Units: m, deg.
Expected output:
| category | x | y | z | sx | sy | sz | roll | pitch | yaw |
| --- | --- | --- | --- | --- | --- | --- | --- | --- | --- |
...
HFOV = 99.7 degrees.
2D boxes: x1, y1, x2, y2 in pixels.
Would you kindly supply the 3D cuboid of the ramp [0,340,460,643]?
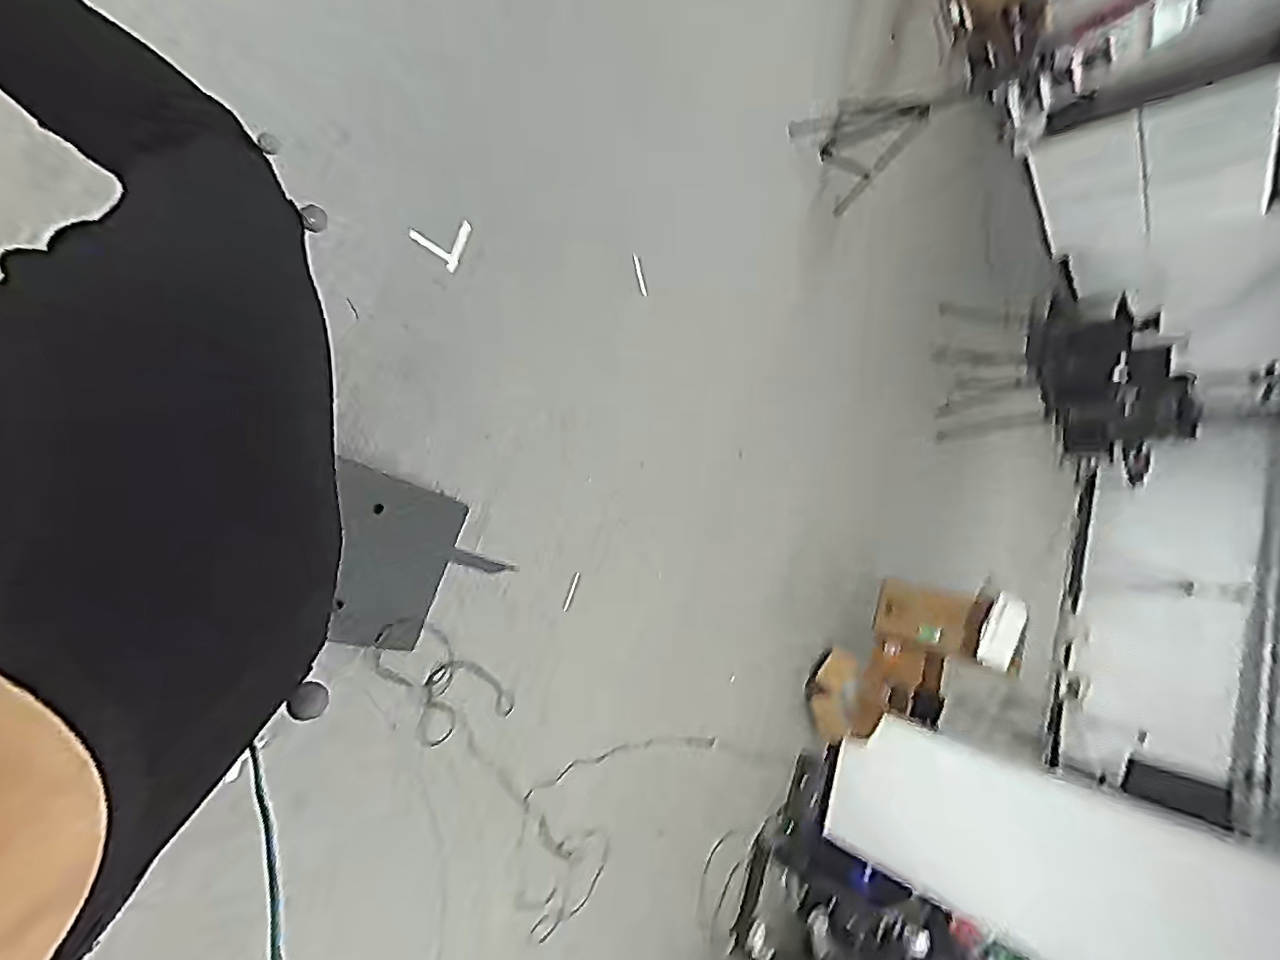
| category | x | y | z | sx | sy | sz | roll | pitch | yaw |
| --- | --- | --- | --- | --- | --- | --- | --- | --- | --- |
| ramp | -0.927 | 0.119 | 1.354 | 0.991 | 0.206 | 0.509 | 26 | 75 | -42 |
